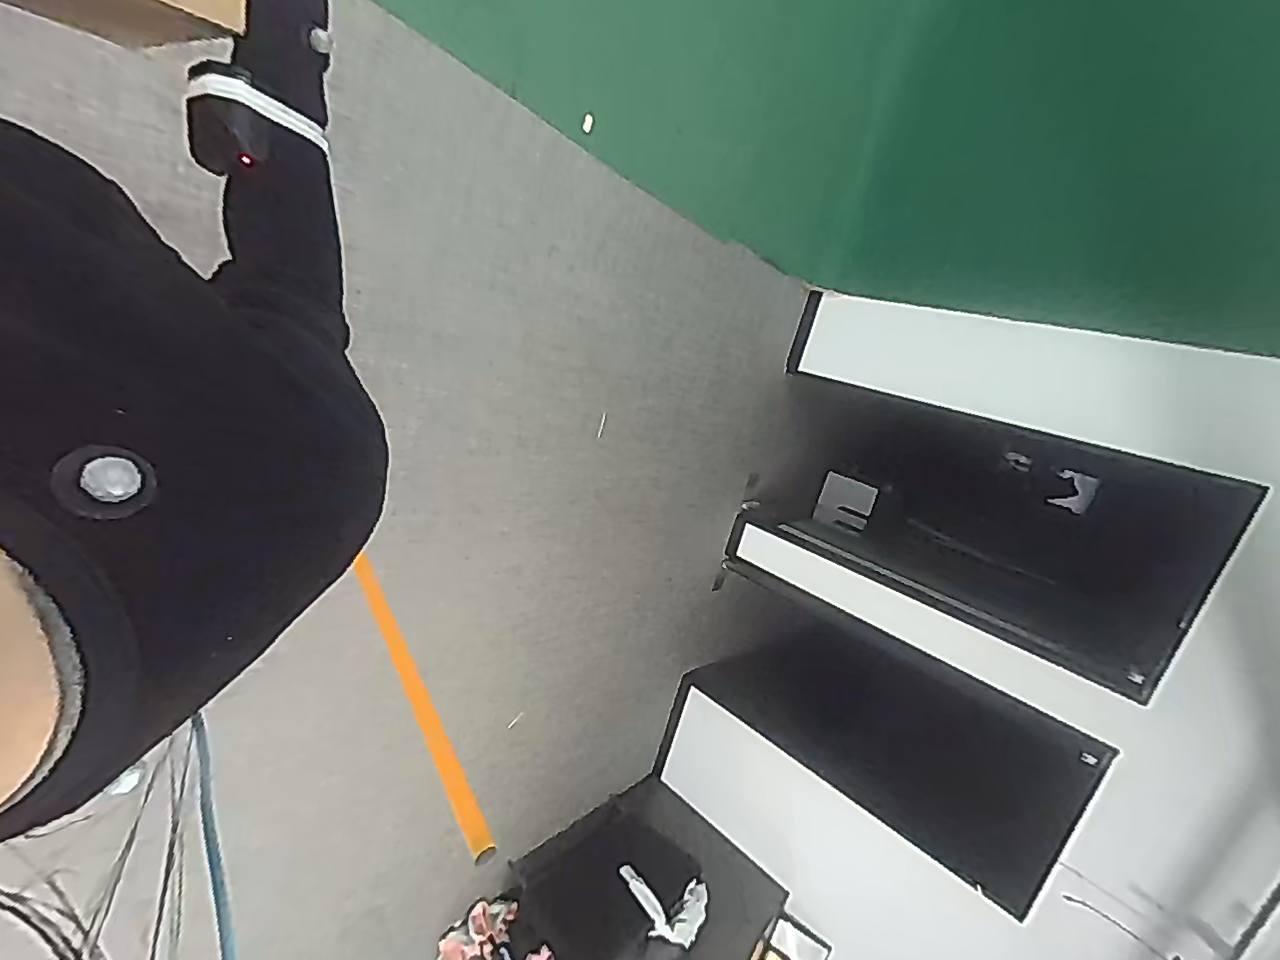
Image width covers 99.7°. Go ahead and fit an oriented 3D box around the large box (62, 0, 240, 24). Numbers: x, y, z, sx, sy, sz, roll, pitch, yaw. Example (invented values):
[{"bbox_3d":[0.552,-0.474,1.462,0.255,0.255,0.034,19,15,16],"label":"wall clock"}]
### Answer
[{"bbox_3d":[-0.492,-0.504,0.270,0.408,0.320,0.320,-13,123,-49],"label":"large box"}]
